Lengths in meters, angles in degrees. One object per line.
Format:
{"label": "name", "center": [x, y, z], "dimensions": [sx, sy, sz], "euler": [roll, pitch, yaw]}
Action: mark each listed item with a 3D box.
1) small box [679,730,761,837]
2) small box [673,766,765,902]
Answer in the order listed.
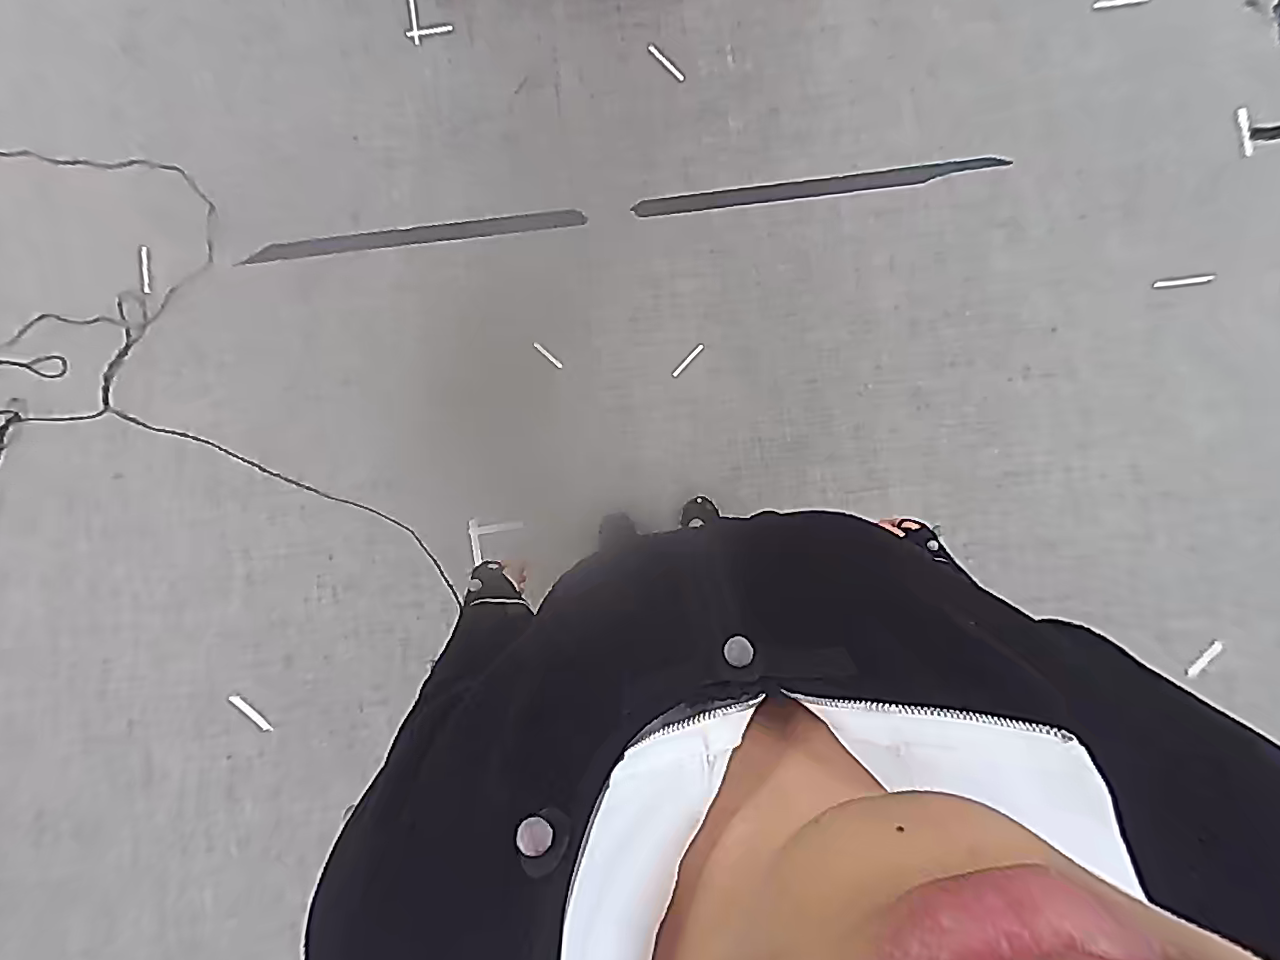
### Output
{"label": "small box", "center": [0.186, 0.729, 1.298], "dimensions": [0.168, 0.176, 0.179], "euler": [-8, 88, 3]}
{"label": "small box", "center": [0.160, 0.734, 1.134], "dimensions": [0.168, 0.176, 0.179], "euler": [-6, 88, 3]}
